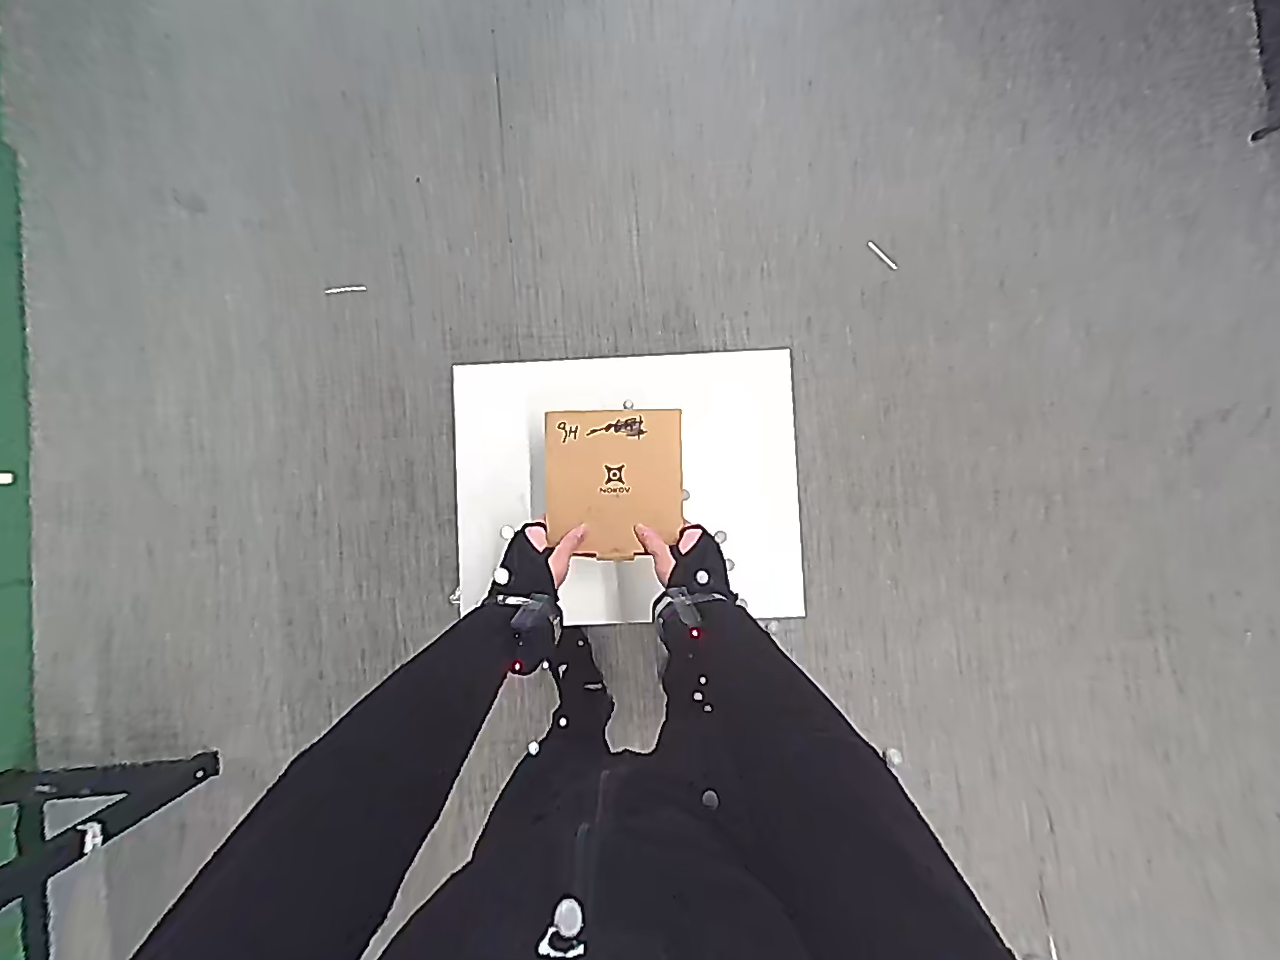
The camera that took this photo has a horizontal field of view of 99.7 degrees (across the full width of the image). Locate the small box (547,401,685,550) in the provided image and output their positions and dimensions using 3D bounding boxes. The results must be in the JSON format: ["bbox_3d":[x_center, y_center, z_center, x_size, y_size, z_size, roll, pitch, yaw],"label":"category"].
[{"bbox_3d":[-0.026,-0.003,0.731,0.168,0.176,0.179,-3,87,1],"label":"small box"}]
